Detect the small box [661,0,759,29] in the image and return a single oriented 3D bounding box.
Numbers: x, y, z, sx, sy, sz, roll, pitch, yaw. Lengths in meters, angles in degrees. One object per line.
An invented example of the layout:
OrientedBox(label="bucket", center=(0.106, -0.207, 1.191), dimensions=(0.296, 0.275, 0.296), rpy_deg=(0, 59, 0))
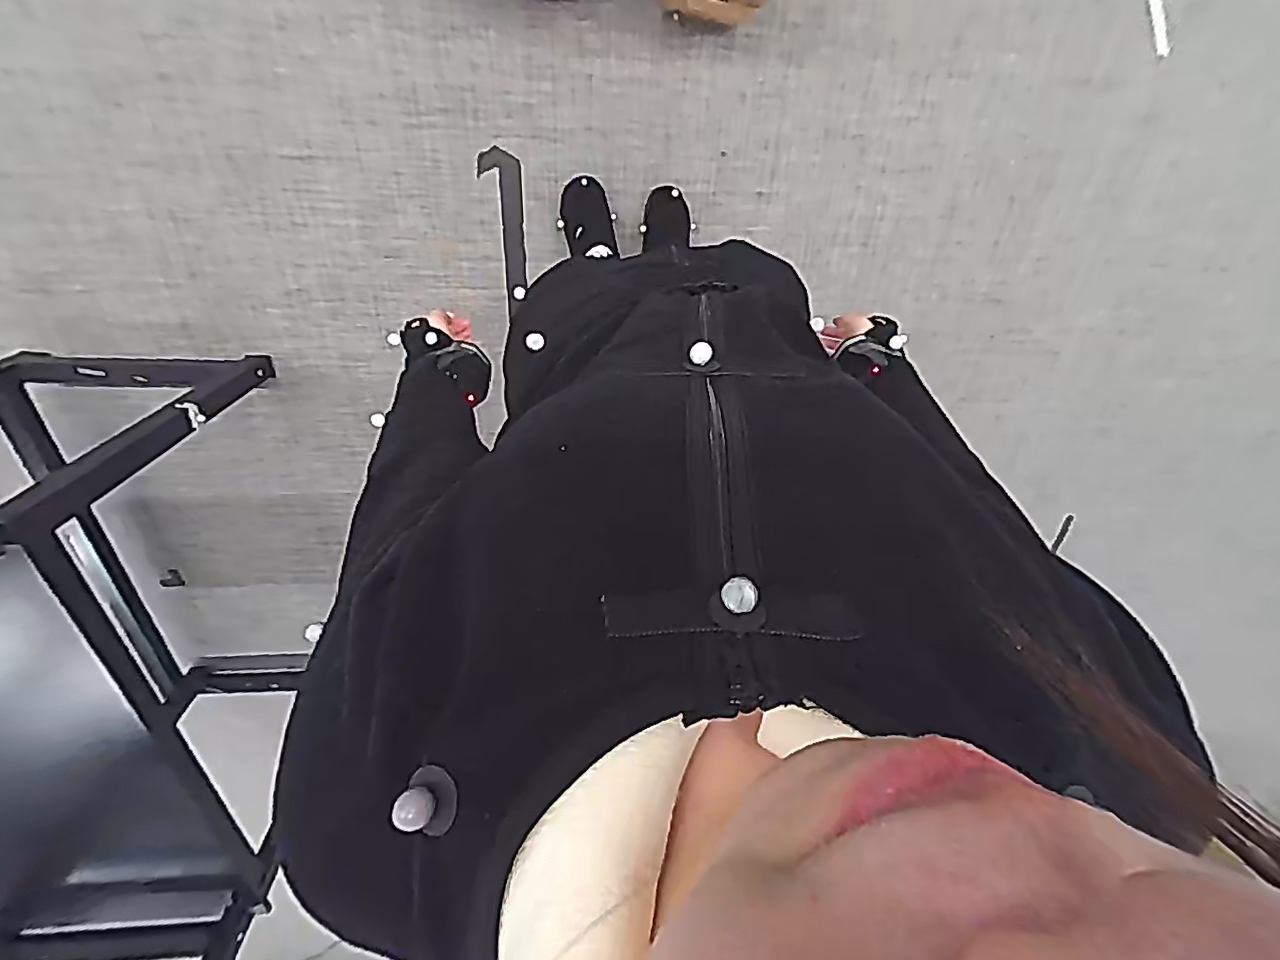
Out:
OrientedBox(label="small box", center=(0.136, -0.953, 0.978), dimensions=(0.168, 0.176, 0.179), rpy_deg=(5, 120, -9))

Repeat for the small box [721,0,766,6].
OrientedBox(label="small box", center=(0.154, -0.873, 0.838), dimensions=(0.179, 0.176, 0.168), rpy_deg=(6, 119, -10))
